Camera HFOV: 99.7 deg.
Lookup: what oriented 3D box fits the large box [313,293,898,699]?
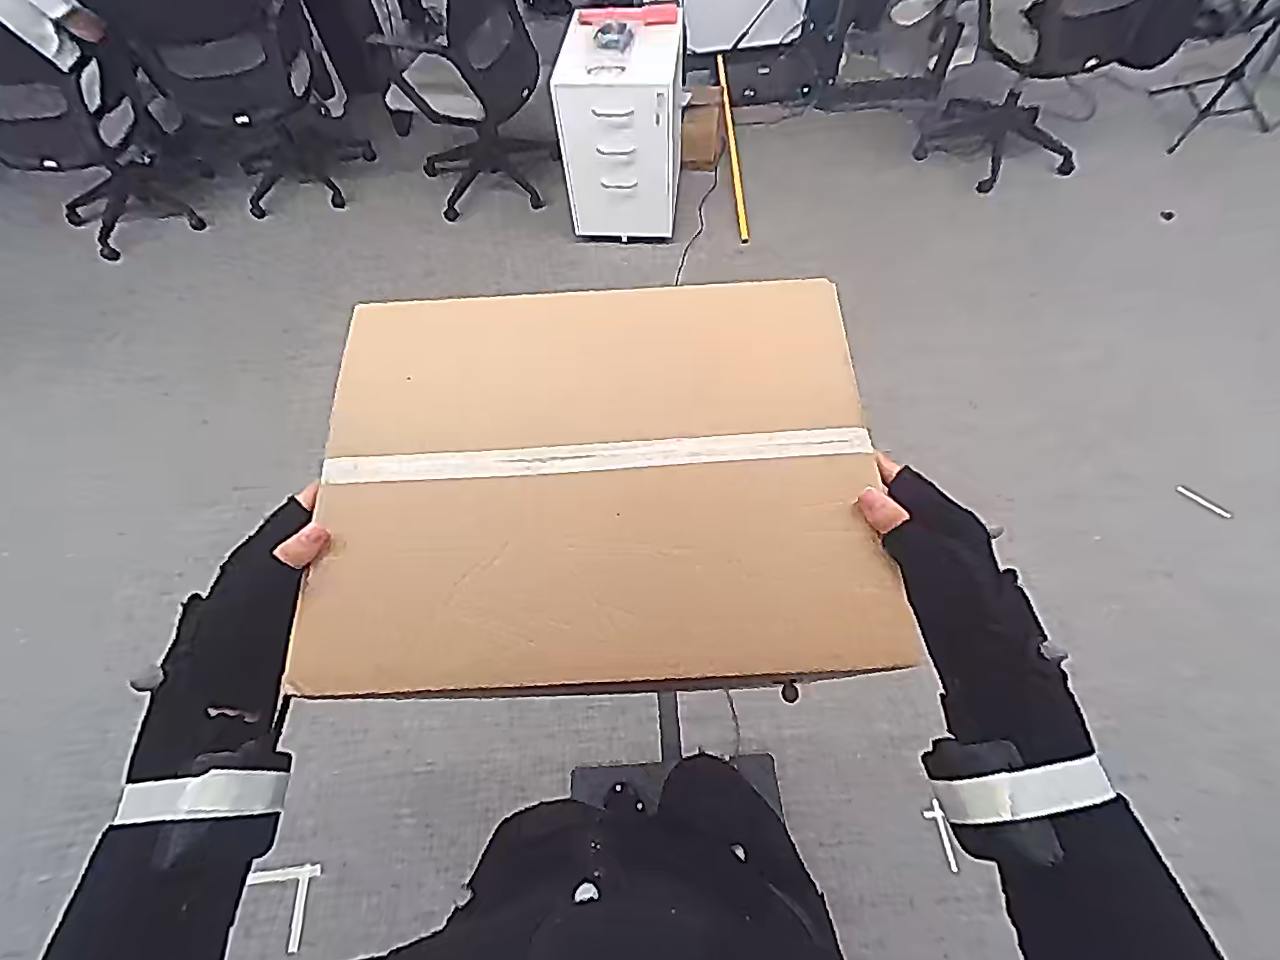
[{"bbox_3d":[-0.025,0.046,0.554,0.408,0.320,0.320,-3,67,1],"label":"large box"}]

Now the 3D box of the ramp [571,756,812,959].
[{"bbox_3d":[0.108,1.078,1.007,0.509,0.206,0.991,-7,60,1],"label":"ramp"}]
